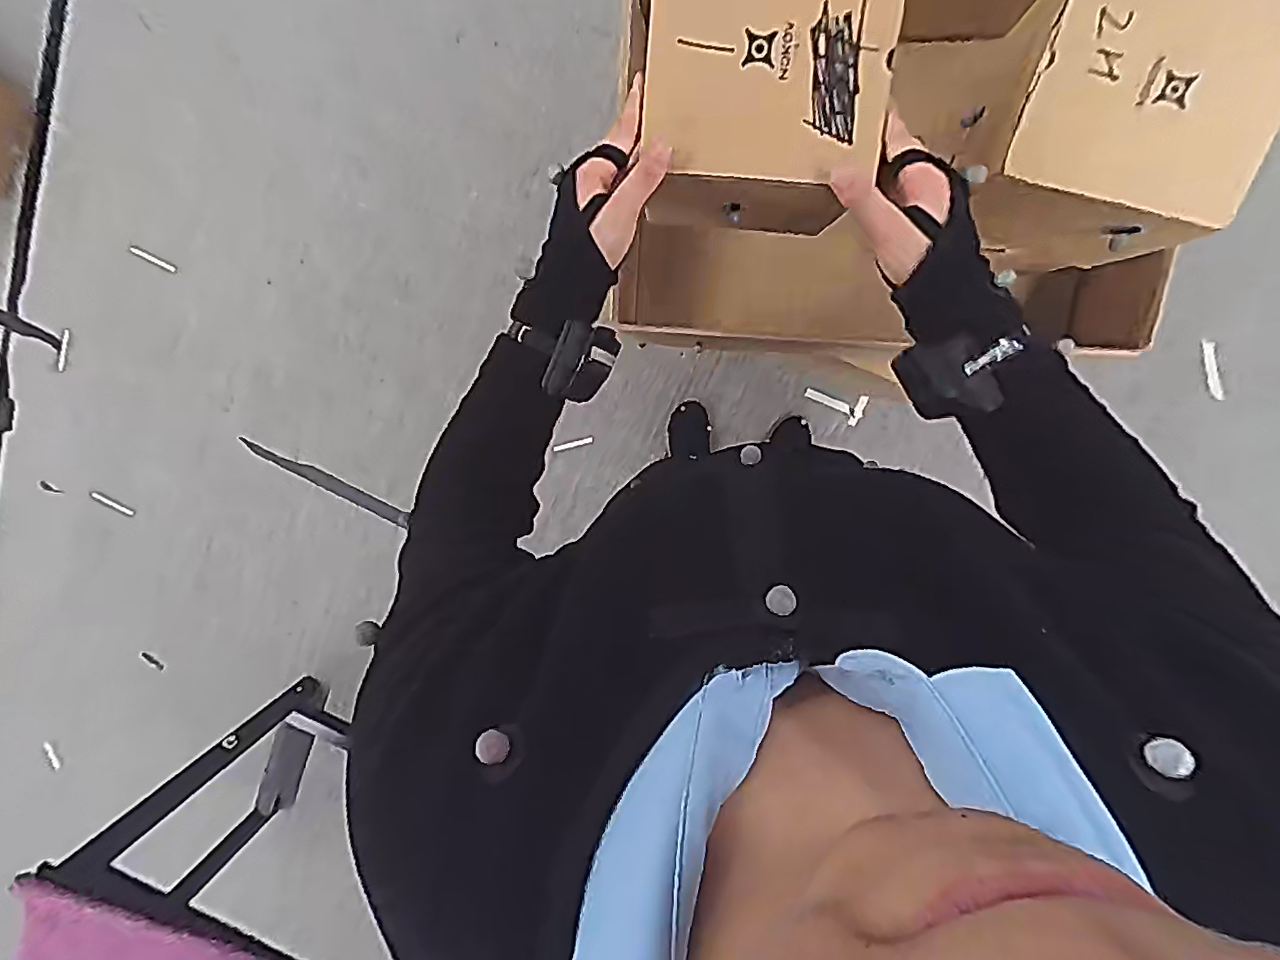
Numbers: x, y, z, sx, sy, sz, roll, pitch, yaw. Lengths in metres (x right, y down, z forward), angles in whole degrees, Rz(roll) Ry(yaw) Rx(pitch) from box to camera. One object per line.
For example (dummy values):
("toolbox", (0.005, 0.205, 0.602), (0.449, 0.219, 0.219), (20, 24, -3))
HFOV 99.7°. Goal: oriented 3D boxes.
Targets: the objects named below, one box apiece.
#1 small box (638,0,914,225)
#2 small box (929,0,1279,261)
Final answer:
("small box", (0.098, -0.316, 0.444), (0.179, 0.176, 0.168), (7, 106, 3))
("small box", (0.398, -0.307, 0.478), (0.179, 0.176, 0.168), (18, 103, 5))
